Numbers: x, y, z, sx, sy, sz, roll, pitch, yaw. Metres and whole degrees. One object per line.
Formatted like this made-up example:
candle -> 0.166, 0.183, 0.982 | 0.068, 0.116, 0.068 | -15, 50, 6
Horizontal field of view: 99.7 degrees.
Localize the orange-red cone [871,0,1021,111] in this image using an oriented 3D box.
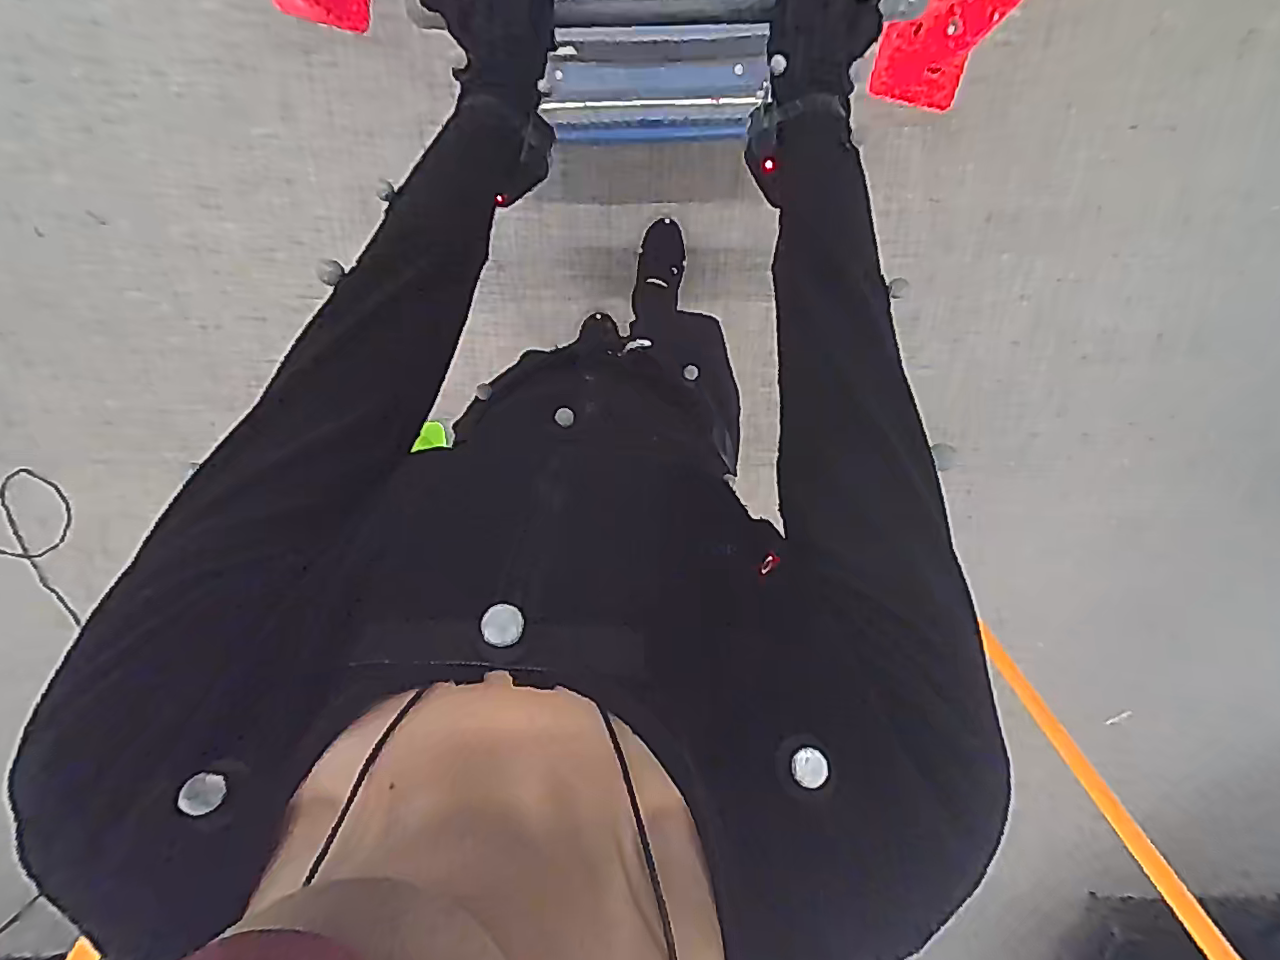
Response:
orange-red cone -> 0.623, -0.870, 1.021 | 0.198, 0.360, 0.199 | 11, 112, -4
